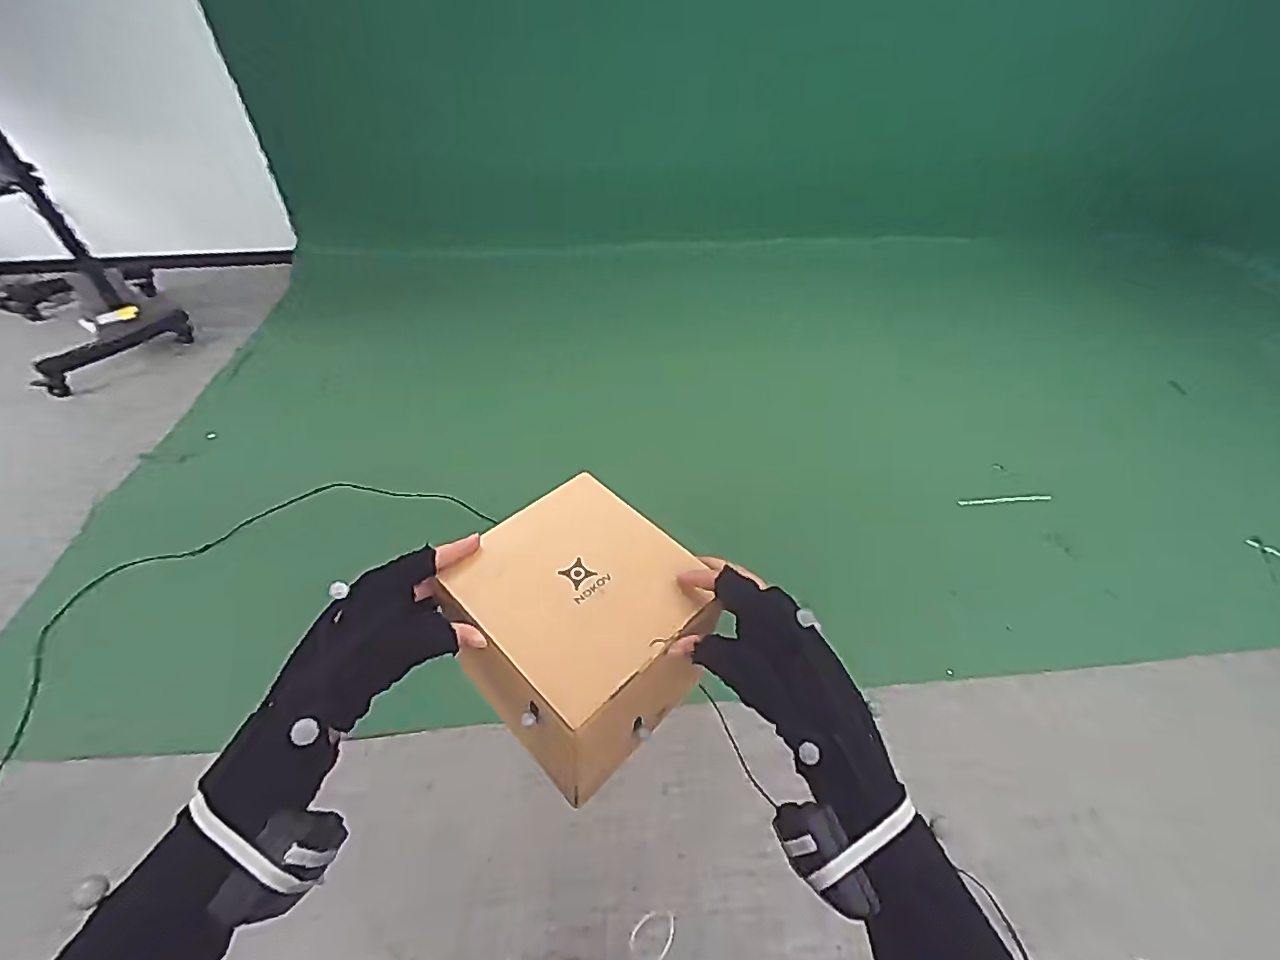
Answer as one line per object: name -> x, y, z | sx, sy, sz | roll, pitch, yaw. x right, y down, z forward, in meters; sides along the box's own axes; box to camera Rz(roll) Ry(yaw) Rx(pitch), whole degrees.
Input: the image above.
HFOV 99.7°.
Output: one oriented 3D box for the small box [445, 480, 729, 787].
small box -> -0.051, 0.137, 0.494 | 0.179, 0.176, 0.168 | 38, 52, 26
